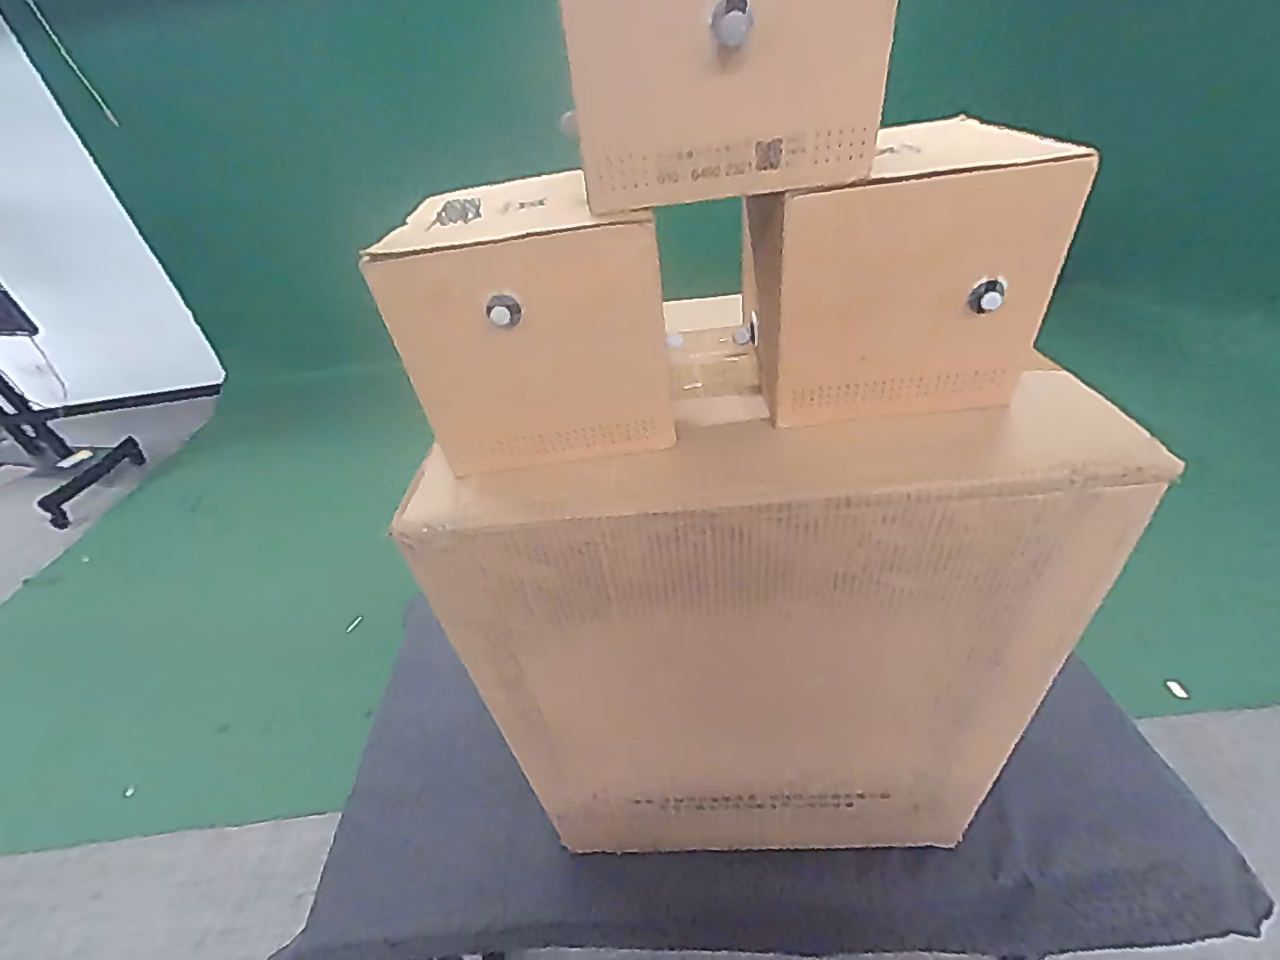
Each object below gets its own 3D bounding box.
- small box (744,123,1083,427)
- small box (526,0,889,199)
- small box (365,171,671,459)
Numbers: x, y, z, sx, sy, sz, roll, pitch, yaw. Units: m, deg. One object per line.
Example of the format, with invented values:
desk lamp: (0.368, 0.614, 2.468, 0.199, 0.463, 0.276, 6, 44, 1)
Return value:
small box: (0.178, -0.158, 0.424, 0.179, 0.176, 0.168, -6, 39, 5)
small box: (0.039, -0.292, 0.340, 0.179, 0.176, 0.168, -27, 42, -20)
small box: (-0.072, -0.131, 0.434, 0.179, 0.176, 0.168, -5, 41, 6)
